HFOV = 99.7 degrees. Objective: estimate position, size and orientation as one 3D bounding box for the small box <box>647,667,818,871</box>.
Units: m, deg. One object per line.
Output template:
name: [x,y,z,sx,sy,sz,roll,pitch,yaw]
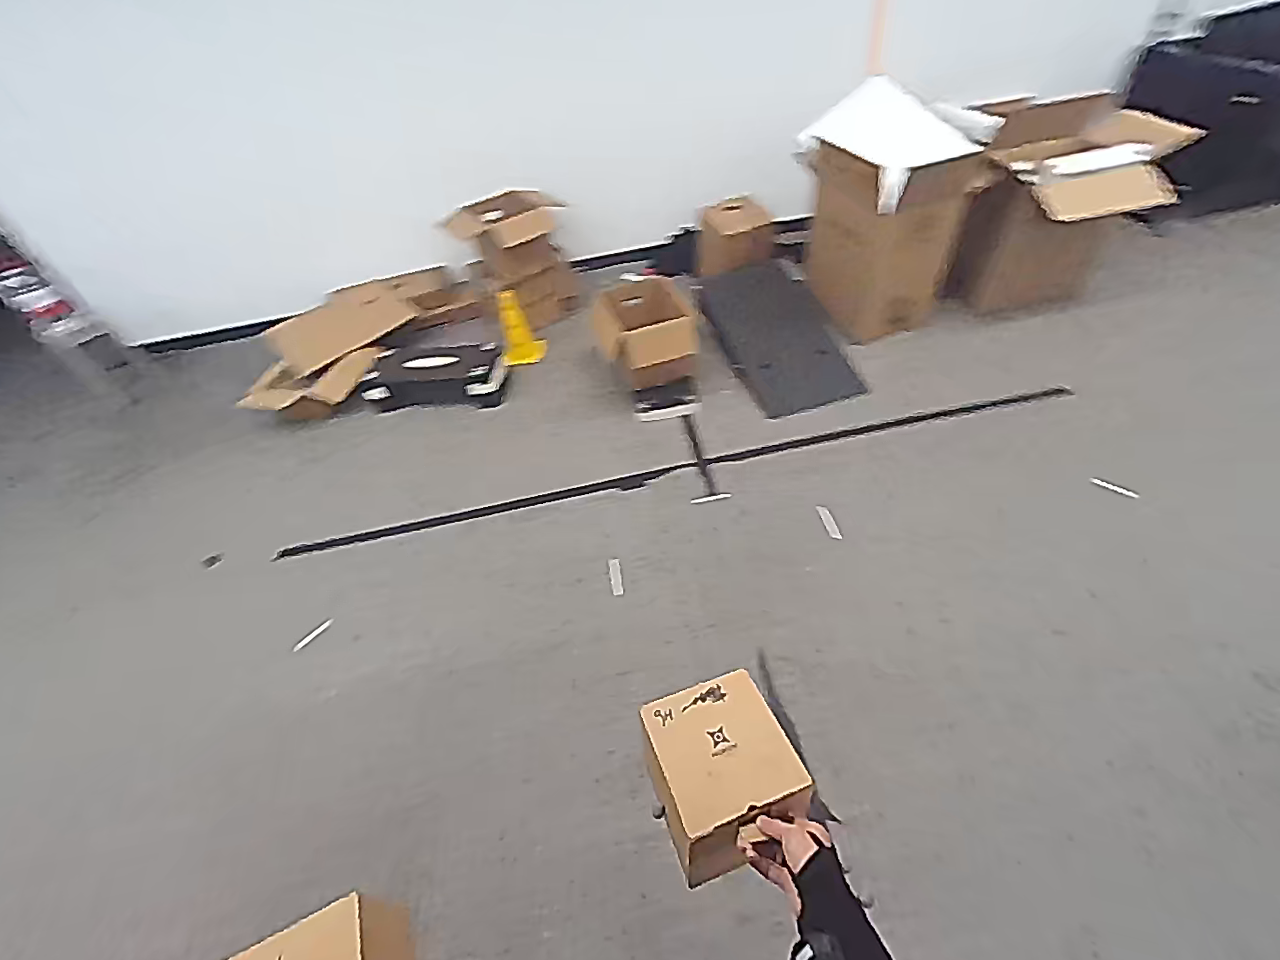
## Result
small box: [0.116,0.395,0.736,0.168,0.176,0.179,-14,39,-12]
